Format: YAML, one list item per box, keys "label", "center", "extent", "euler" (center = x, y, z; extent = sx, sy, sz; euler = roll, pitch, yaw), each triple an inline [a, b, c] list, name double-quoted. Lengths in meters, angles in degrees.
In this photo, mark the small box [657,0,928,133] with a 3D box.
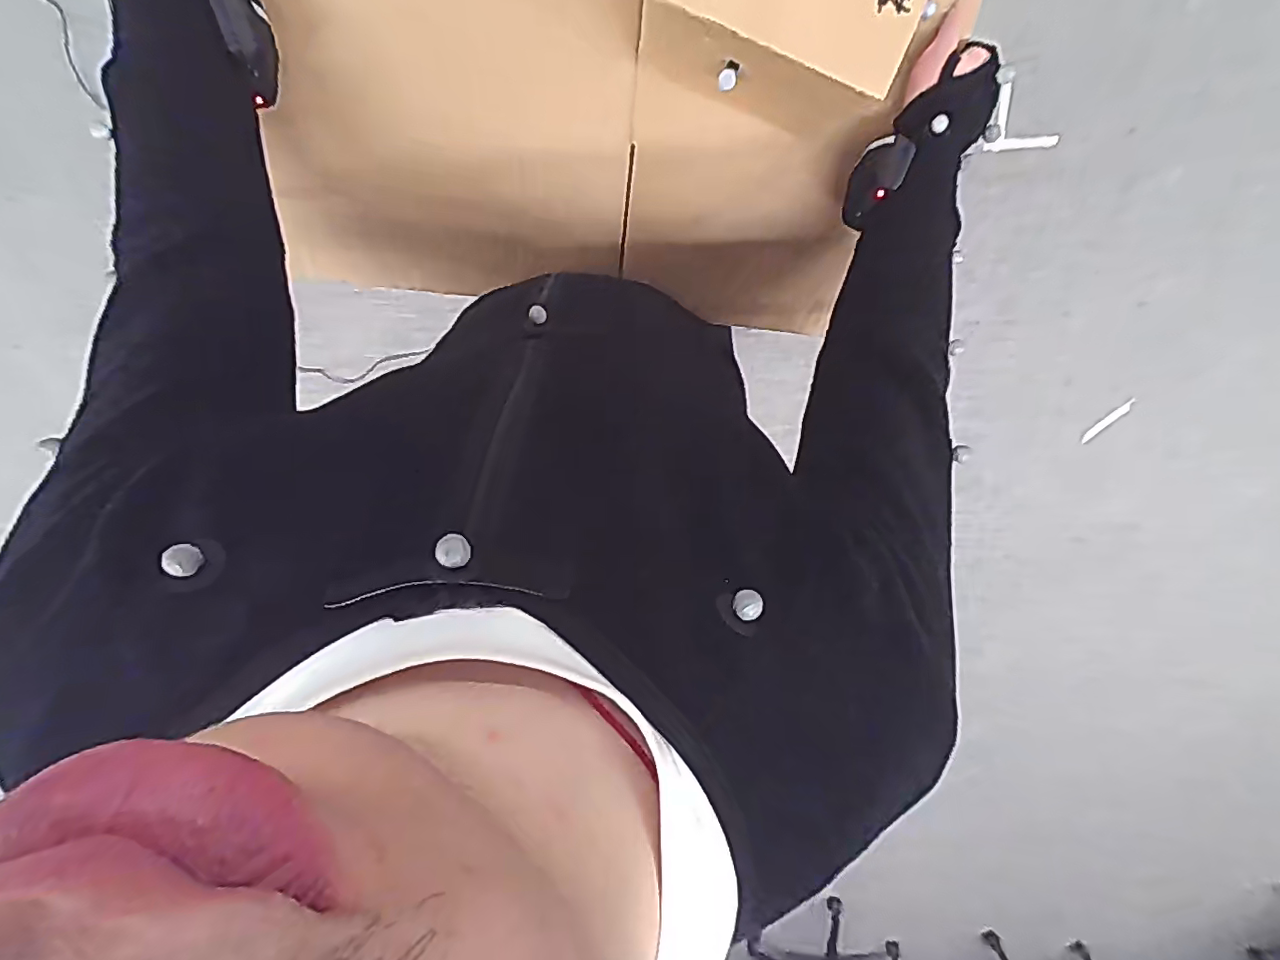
- label: "small box"
  center: [0.118, -0.394, 0.411]
  extent: [0.179, 0.176, 0.168]
  euler: [18, 113, -7]
